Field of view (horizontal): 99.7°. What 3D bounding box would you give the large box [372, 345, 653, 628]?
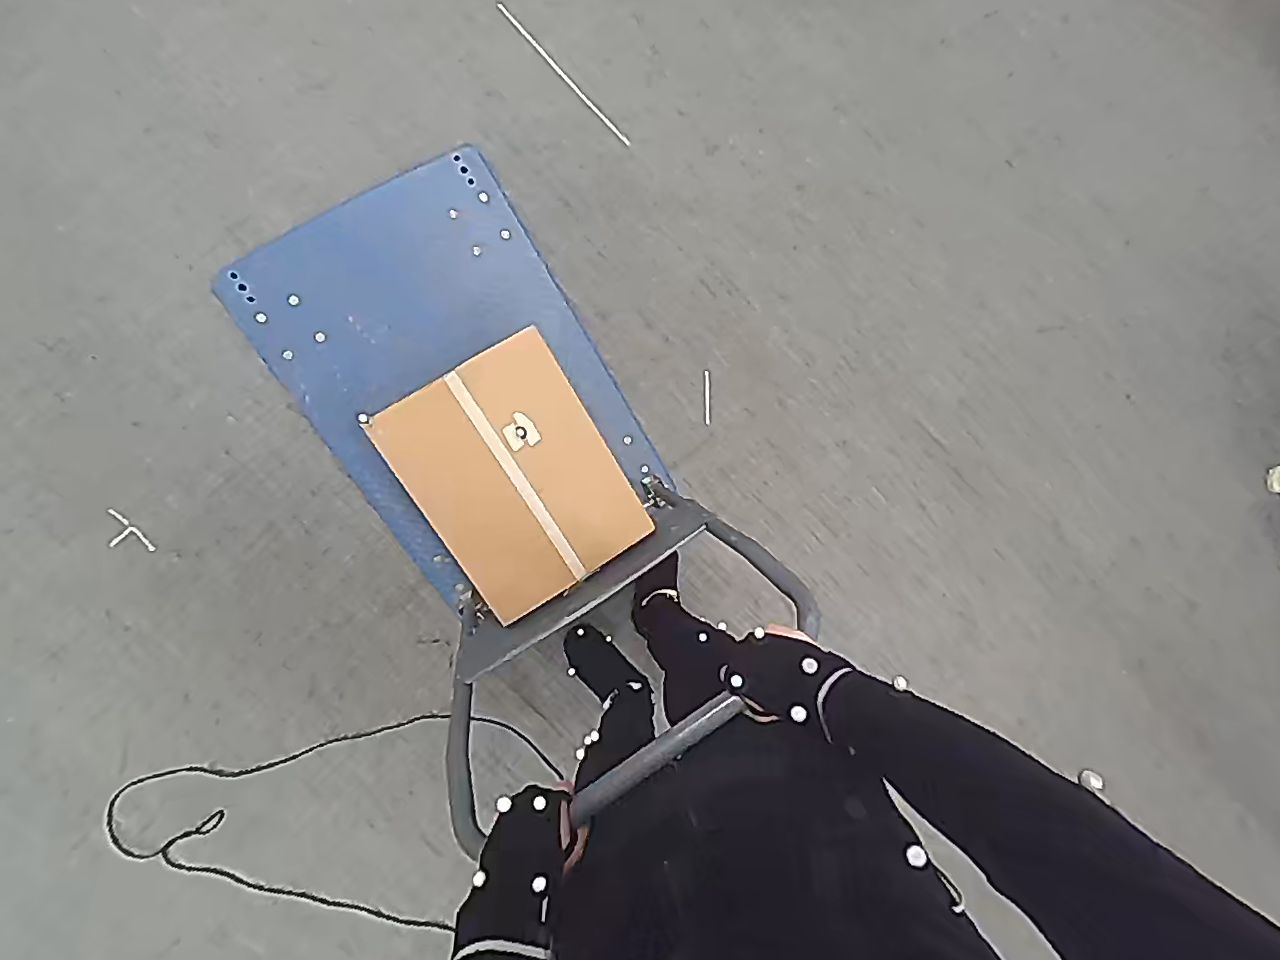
[{"bbox_3d":[-0.229,0.001,1.062,0.320,0.320,0.408,-33,102,-7],"label":"large box"}]
